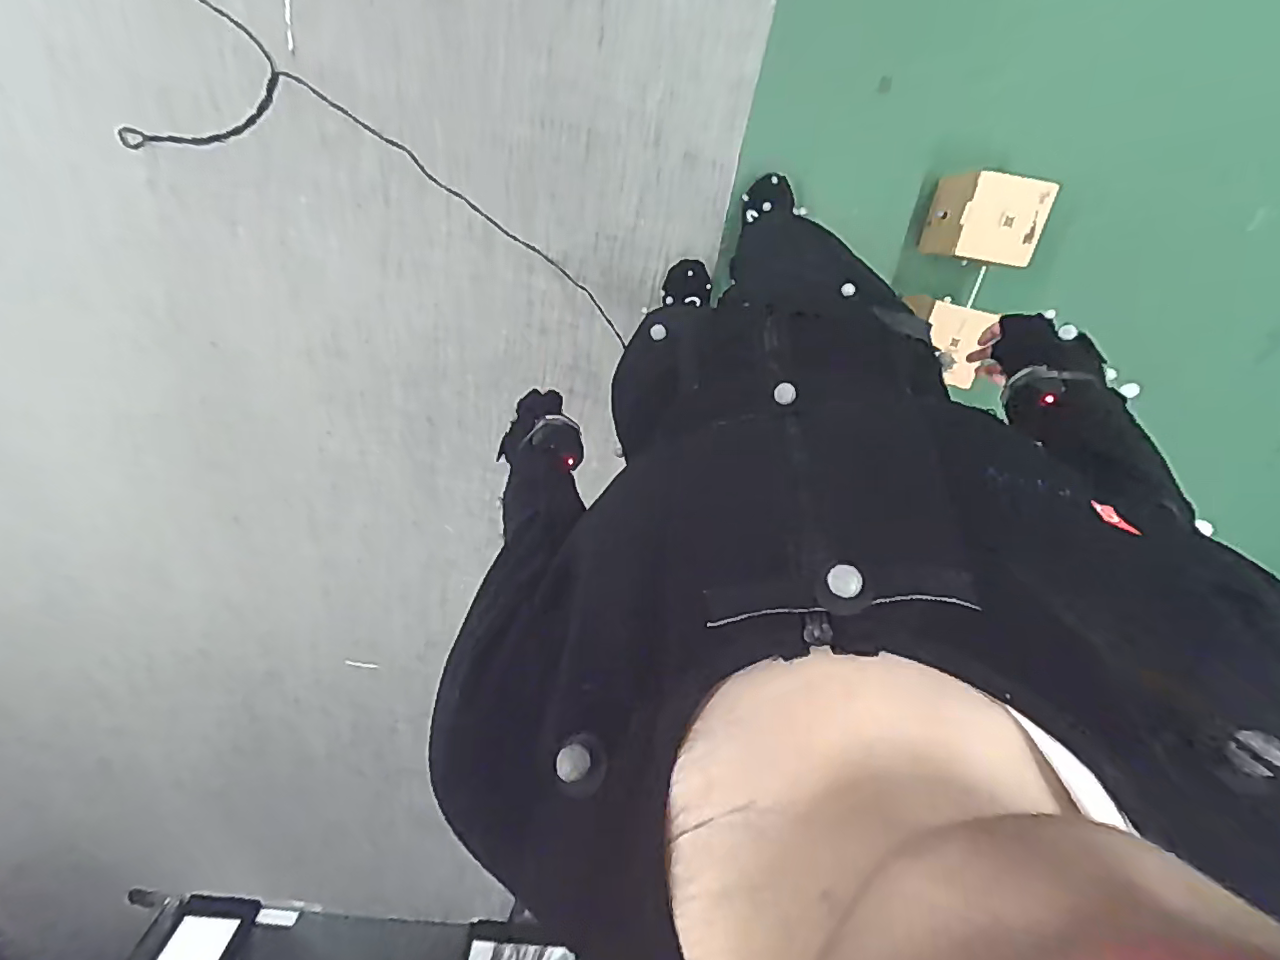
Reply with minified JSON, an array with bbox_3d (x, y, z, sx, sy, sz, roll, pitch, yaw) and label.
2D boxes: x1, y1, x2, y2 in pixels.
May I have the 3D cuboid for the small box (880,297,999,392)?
[{"bbox_3d":[0.718,-0.335,1.324,0.168,0.176,0.179,12,113,-6],"label":"small box"}]

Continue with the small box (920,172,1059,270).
[{"bbox_3d":[0.771,-0.575,1.218,0.179,0.176,0.168,9,113,-4],"label":"small box"}]
